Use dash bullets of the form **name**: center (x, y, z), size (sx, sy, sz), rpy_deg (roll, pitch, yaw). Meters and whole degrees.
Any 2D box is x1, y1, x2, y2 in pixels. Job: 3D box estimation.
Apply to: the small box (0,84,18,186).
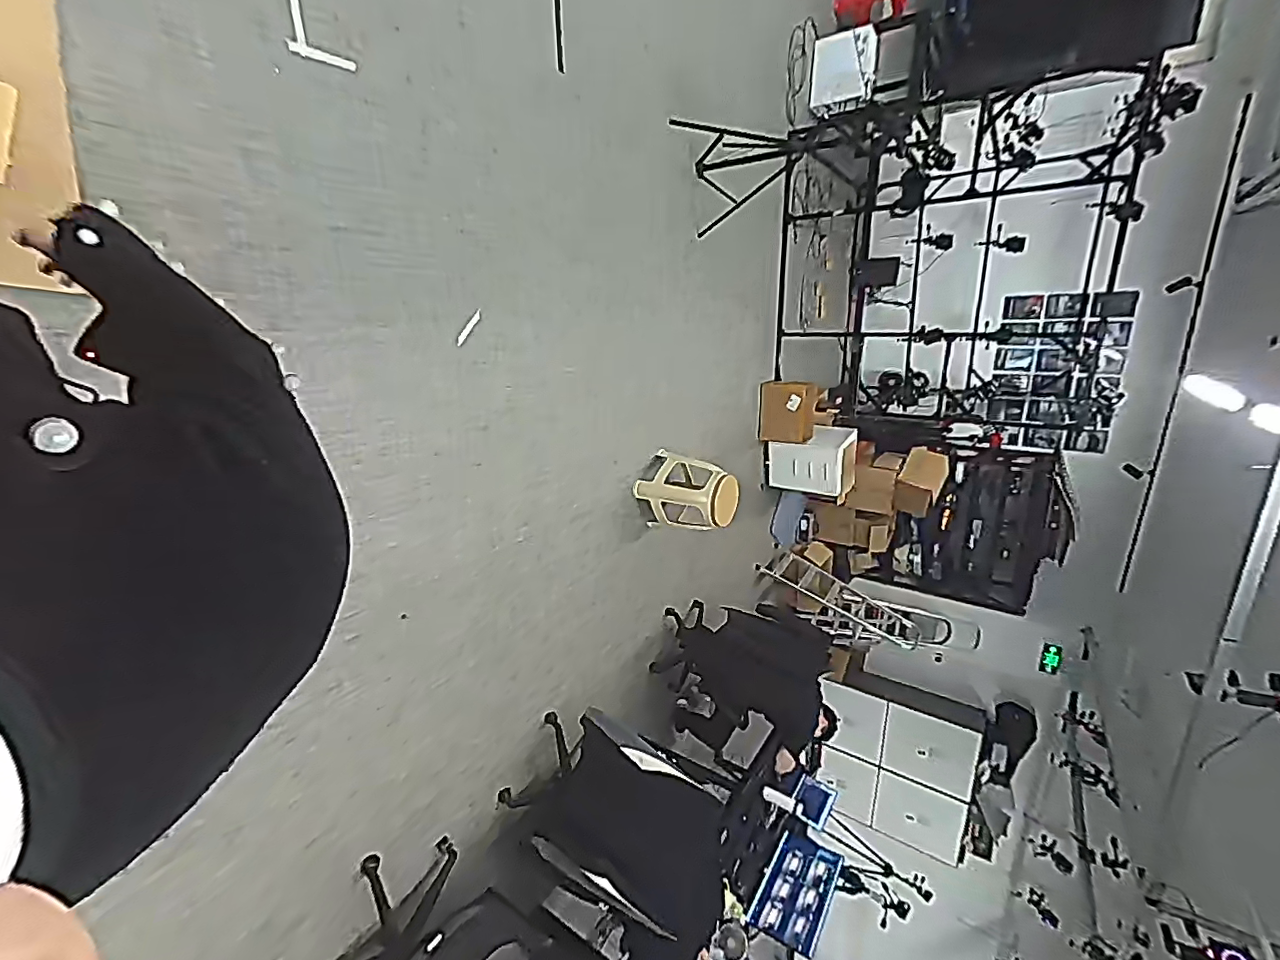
- **small box**: center (-1.178, -0.598, 0.885), size (0.179, 0.176, 0.168), rpy_deg (10, 90, -56)
